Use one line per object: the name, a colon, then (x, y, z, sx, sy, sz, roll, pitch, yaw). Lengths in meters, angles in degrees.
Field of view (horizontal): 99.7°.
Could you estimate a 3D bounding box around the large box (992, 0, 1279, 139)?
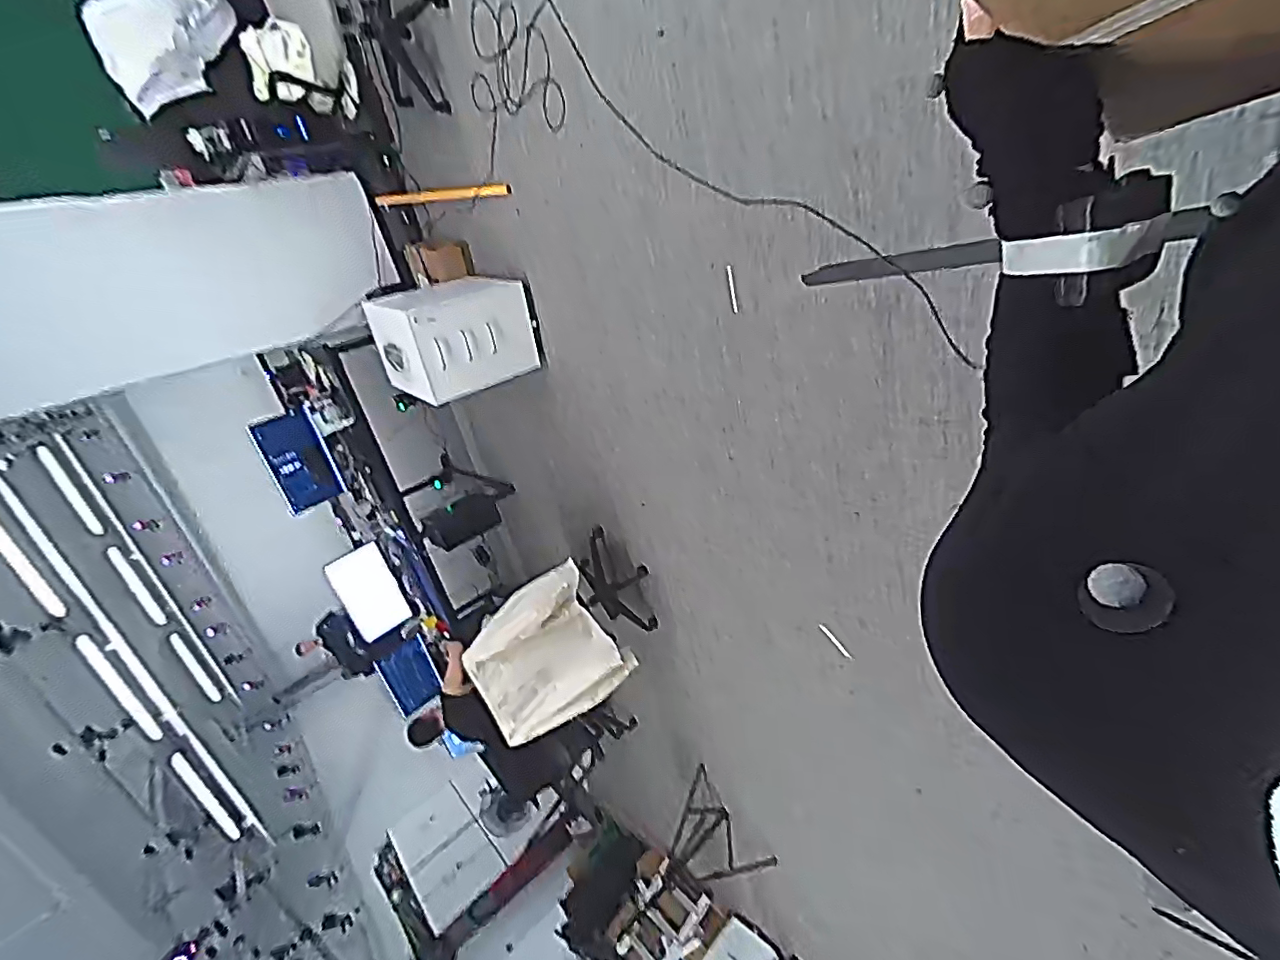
large box: (0.324, -0.365, 0.117, 0.408, 0.320, 0.320, 6, 99, 54)
